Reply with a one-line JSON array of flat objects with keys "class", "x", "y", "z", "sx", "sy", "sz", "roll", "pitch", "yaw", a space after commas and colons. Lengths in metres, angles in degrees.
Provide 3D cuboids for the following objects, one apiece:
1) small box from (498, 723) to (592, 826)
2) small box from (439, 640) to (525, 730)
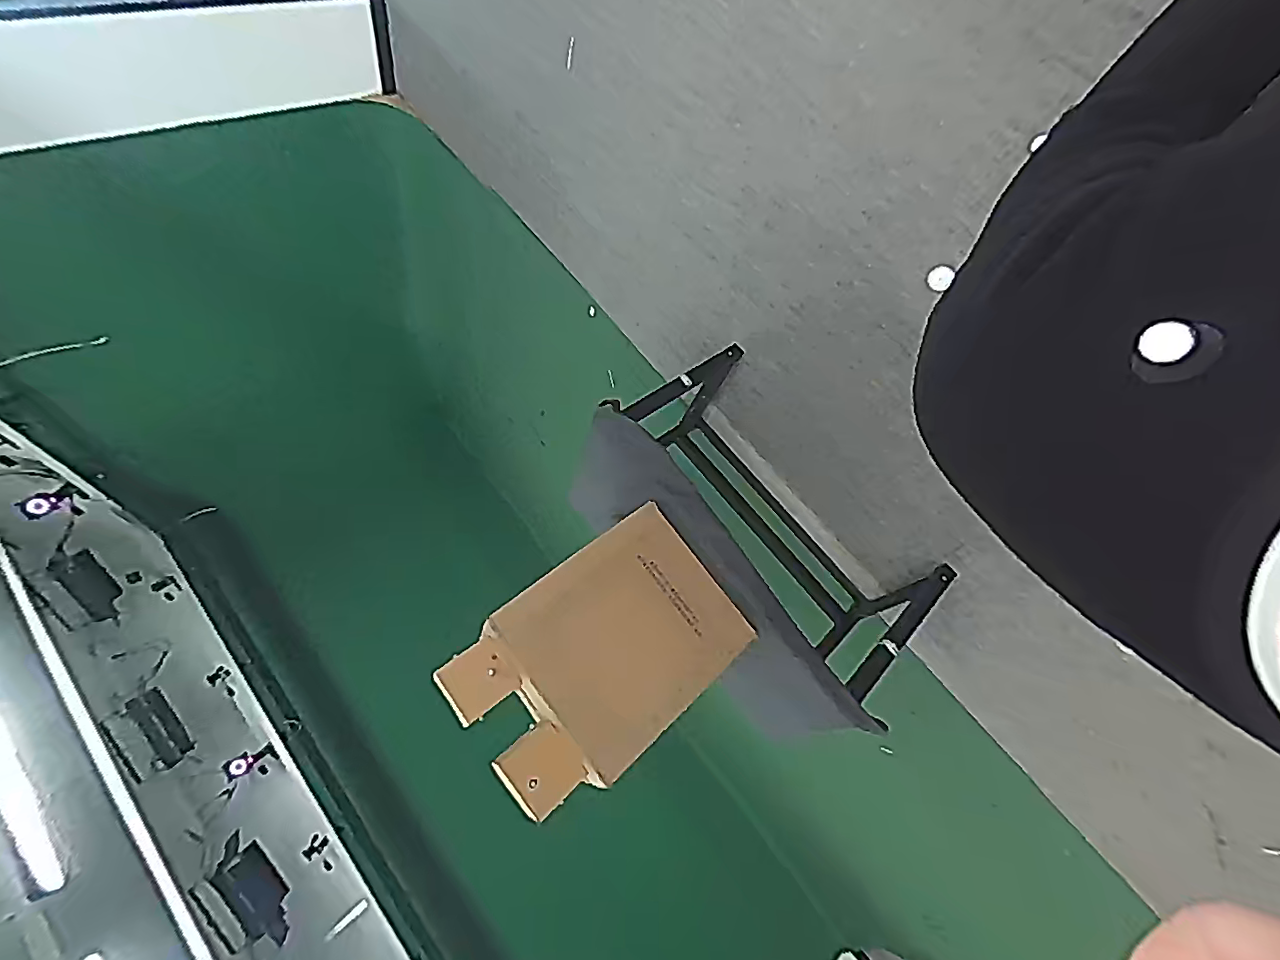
[{"class": "small box", "x": -0.256, "y": 0.787, "z": 1.463, "sx": 0.179, "sy": 0.176, "sz": 0.168, "roll": 52, "pitch": 148, "yaw": 8}, {"class": "small box", "x": -0.442, "y": 0.574, "z": 1.515, "sx": 0.168, "sy": 0.176, "sz": 0.179, "roll": 52, "pitch": 148, "yaw": 9}]
